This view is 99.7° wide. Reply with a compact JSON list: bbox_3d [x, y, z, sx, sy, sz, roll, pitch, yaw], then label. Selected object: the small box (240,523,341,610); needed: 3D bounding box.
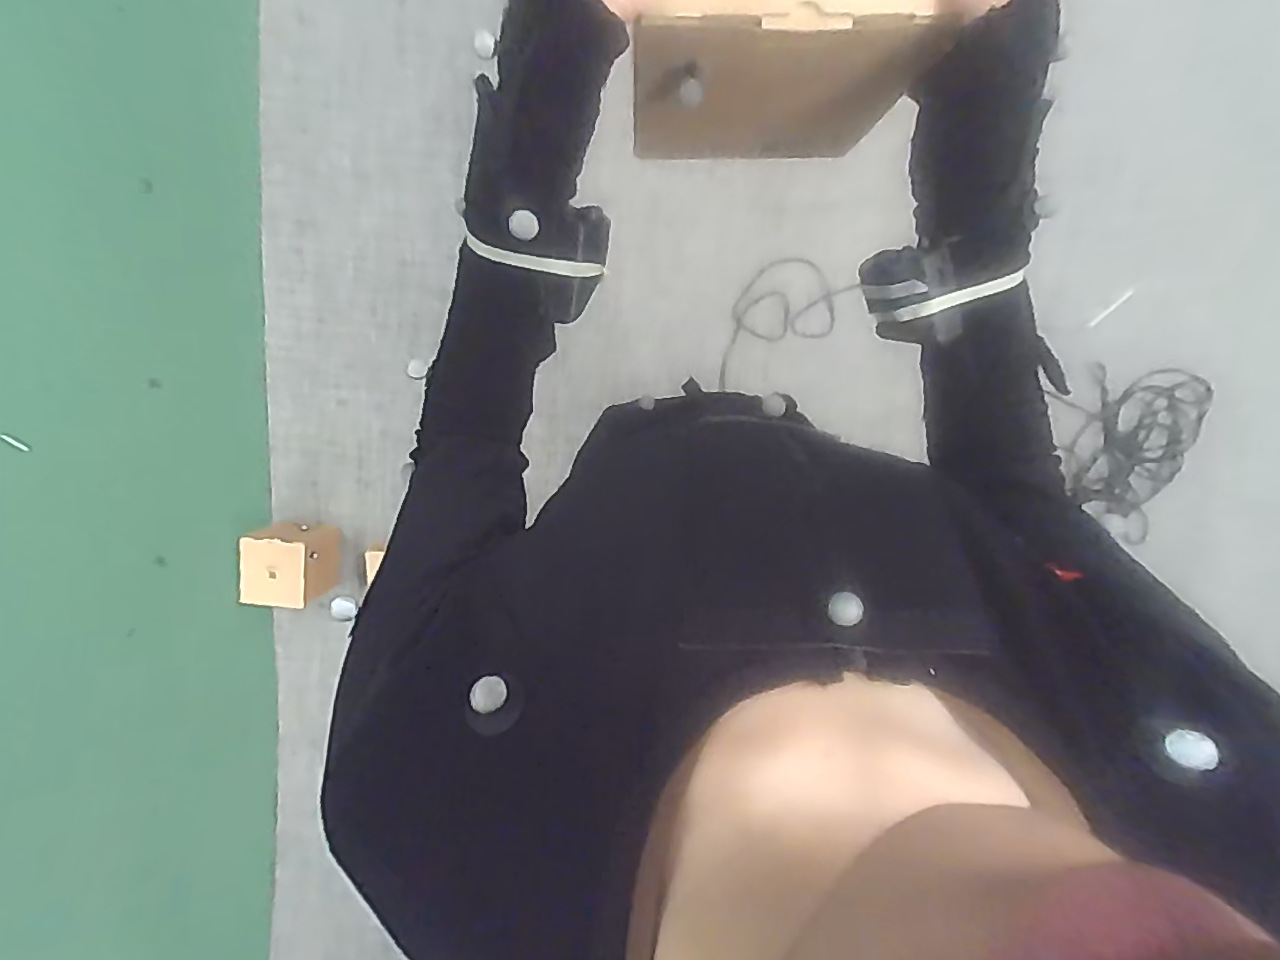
[{"bbox_3d":[-0.921,0.225,1.436,0.168,0.176,0.179,6,97,-1],"label":"small box"}]
